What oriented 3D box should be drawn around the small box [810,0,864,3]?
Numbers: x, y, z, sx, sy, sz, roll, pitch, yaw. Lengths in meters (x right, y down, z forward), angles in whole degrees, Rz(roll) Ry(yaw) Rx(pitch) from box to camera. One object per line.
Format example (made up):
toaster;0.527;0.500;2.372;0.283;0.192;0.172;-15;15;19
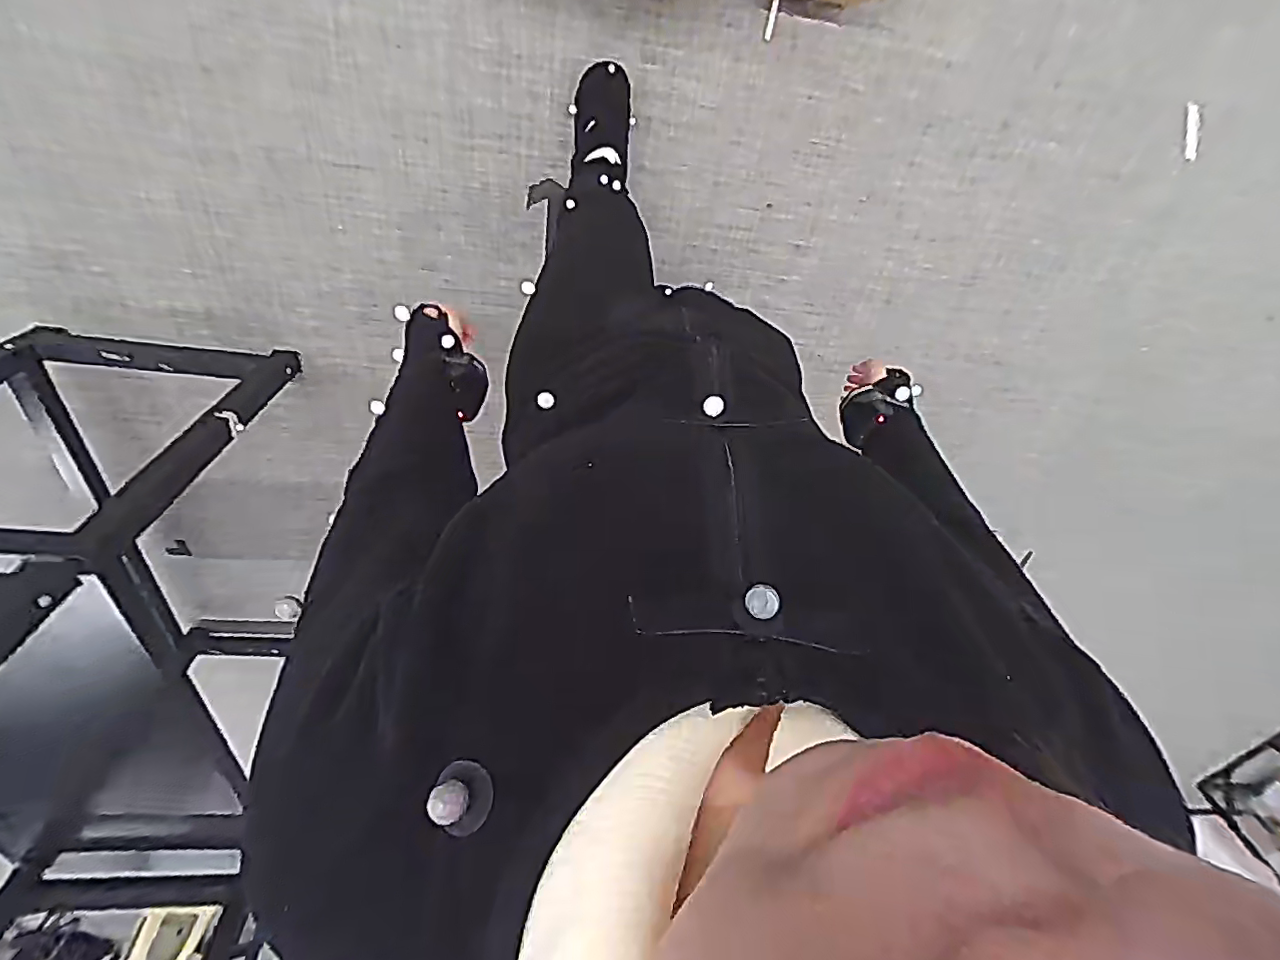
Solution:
small box;0.325;-0.927;0.908;0.179;0.176;0.168;3;127;-9
